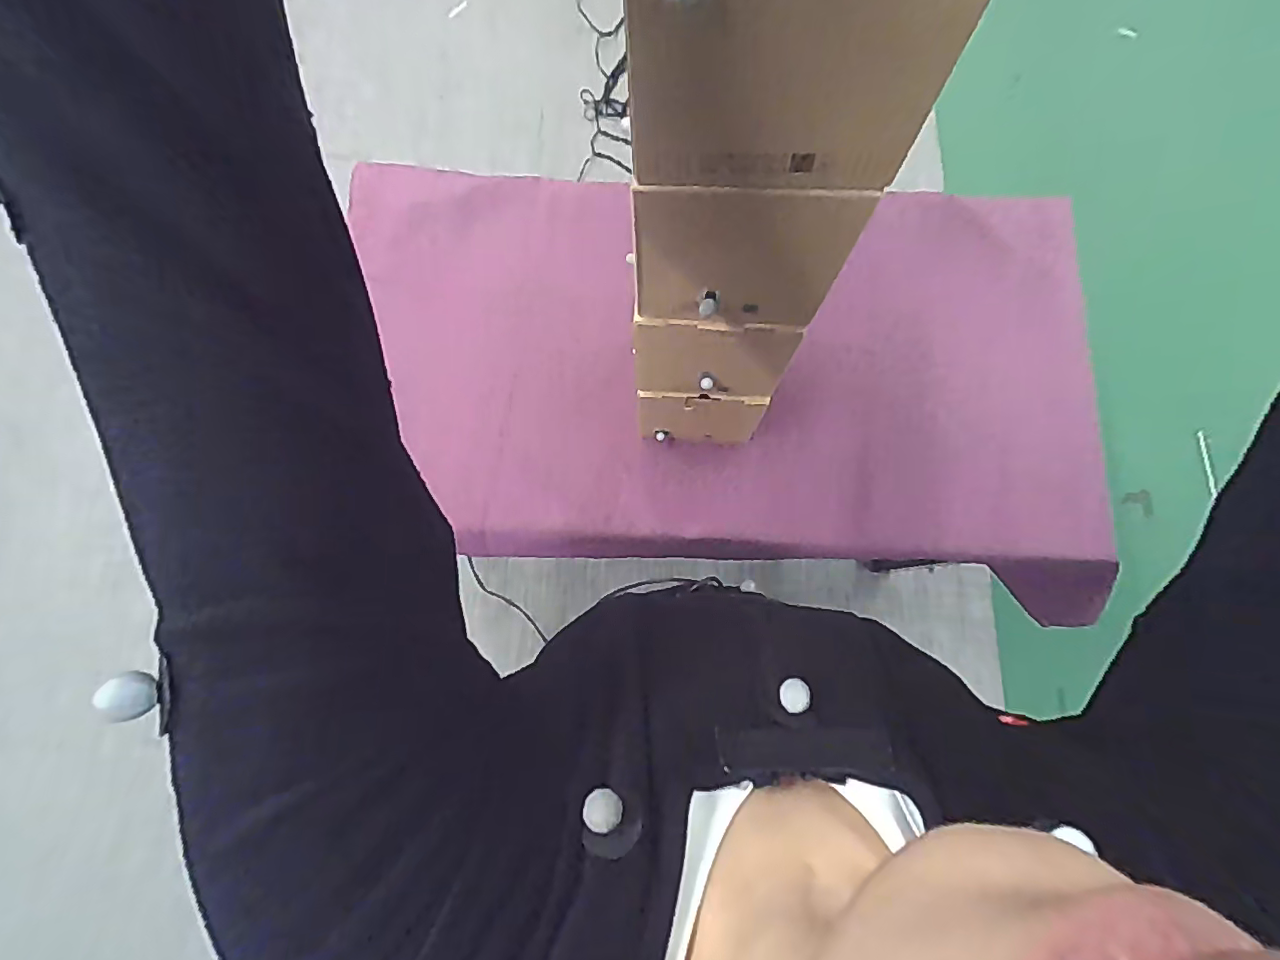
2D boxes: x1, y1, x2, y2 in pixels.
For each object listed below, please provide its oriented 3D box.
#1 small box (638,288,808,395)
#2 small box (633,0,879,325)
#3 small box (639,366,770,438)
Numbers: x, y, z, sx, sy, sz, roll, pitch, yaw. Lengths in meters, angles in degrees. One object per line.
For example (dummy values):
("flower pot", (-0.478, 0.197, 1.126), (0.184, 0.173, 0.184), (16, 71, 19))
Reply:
("small box", (0.086, -0.213, 0.611), (0.168, 0.176, 0.179), (4, 77, 3))
("small box", (0.083, -0.255, 0.453), (0.168, 0.176, 0.179), (4, 77, 3))
("small box", (0.091, -0.167, 0.768), (0.168, 0.176, 0.179), (4, 76, 2))
